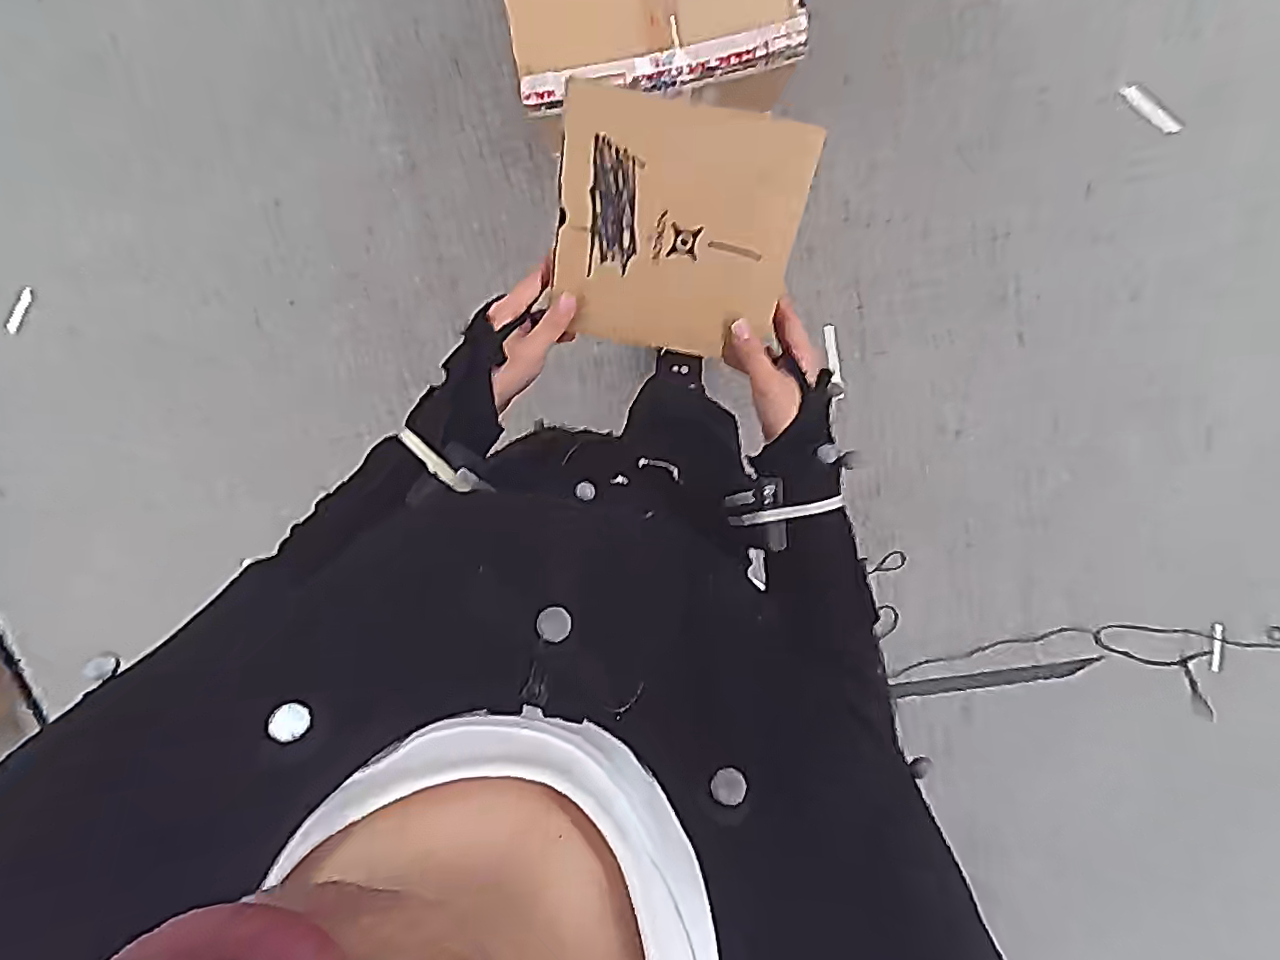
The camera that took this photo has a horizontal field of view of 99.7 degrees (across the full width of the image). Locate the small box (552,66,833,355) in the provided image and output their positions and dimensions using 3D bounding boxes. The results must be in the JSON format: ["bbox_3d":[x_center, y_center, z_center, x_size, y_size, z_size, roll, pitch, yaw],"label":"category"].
[{"bbox_3d":[0.033,-0.224,0.461,0.179,0.176,0.168,9,121,-3],"label":"small box"}]
